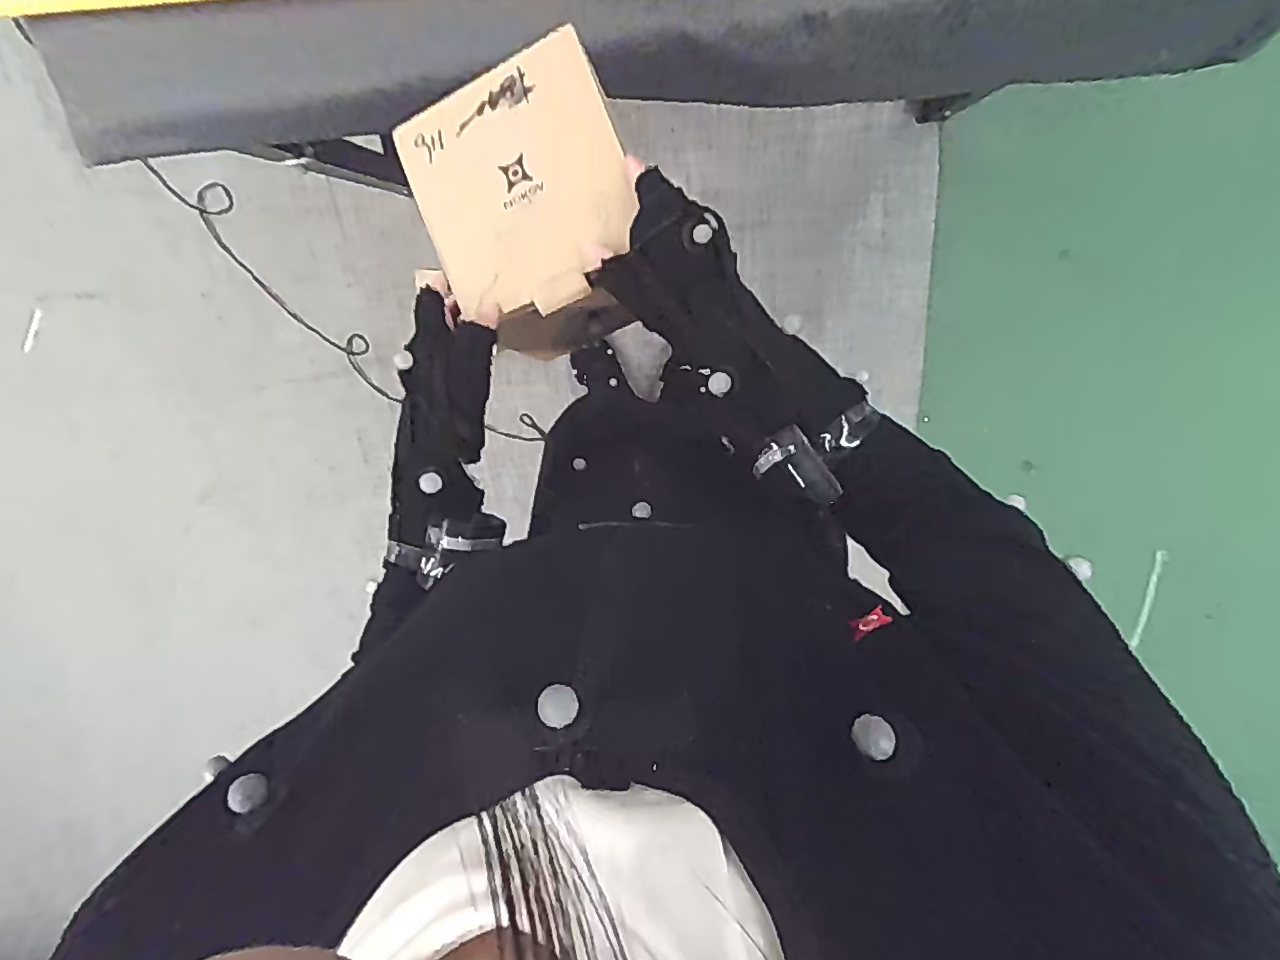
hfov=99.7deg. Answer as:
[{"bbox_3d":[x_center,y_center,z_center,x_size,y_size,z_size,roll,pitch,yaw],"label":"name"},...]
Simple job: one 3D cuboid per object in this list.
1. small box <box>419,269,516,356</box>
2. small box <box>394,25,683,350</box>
[{"bbox_3d":[-0.384,-0.387,1.238,0.168,0.176,0.179,3,112,2],"label":"small box"},{"bbox_3d":[-0.074,-0.231,0.489,0.168,0.176,0.179,-24,89,14],"label":"small box"}]
